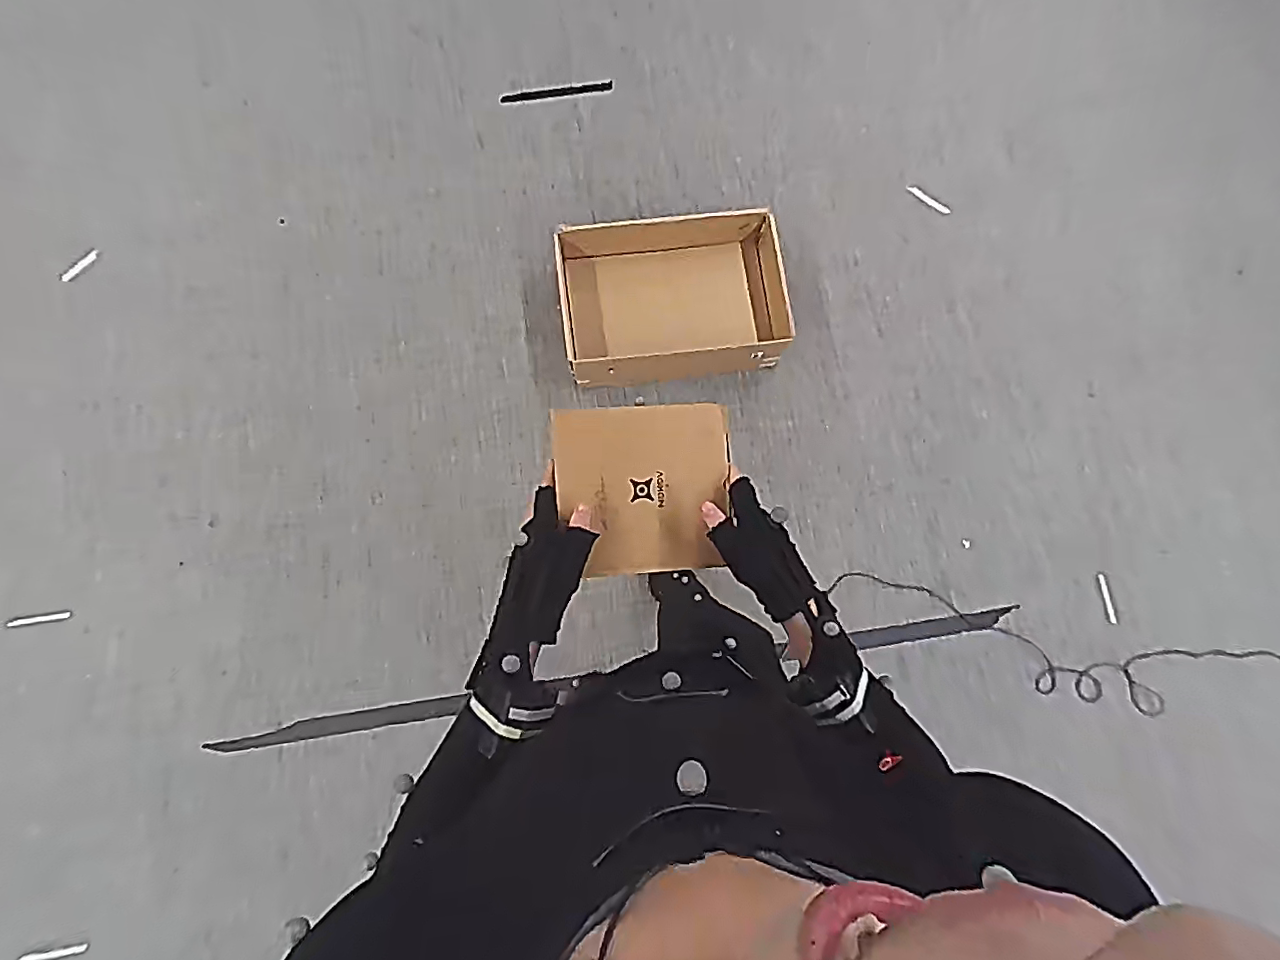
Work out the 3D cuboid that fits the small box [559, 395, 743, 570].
[{"bbox_3d":[0.001,0.000,0.606,0.179,0.176,0.168,-4,90,-7],"label":"small box"}]
